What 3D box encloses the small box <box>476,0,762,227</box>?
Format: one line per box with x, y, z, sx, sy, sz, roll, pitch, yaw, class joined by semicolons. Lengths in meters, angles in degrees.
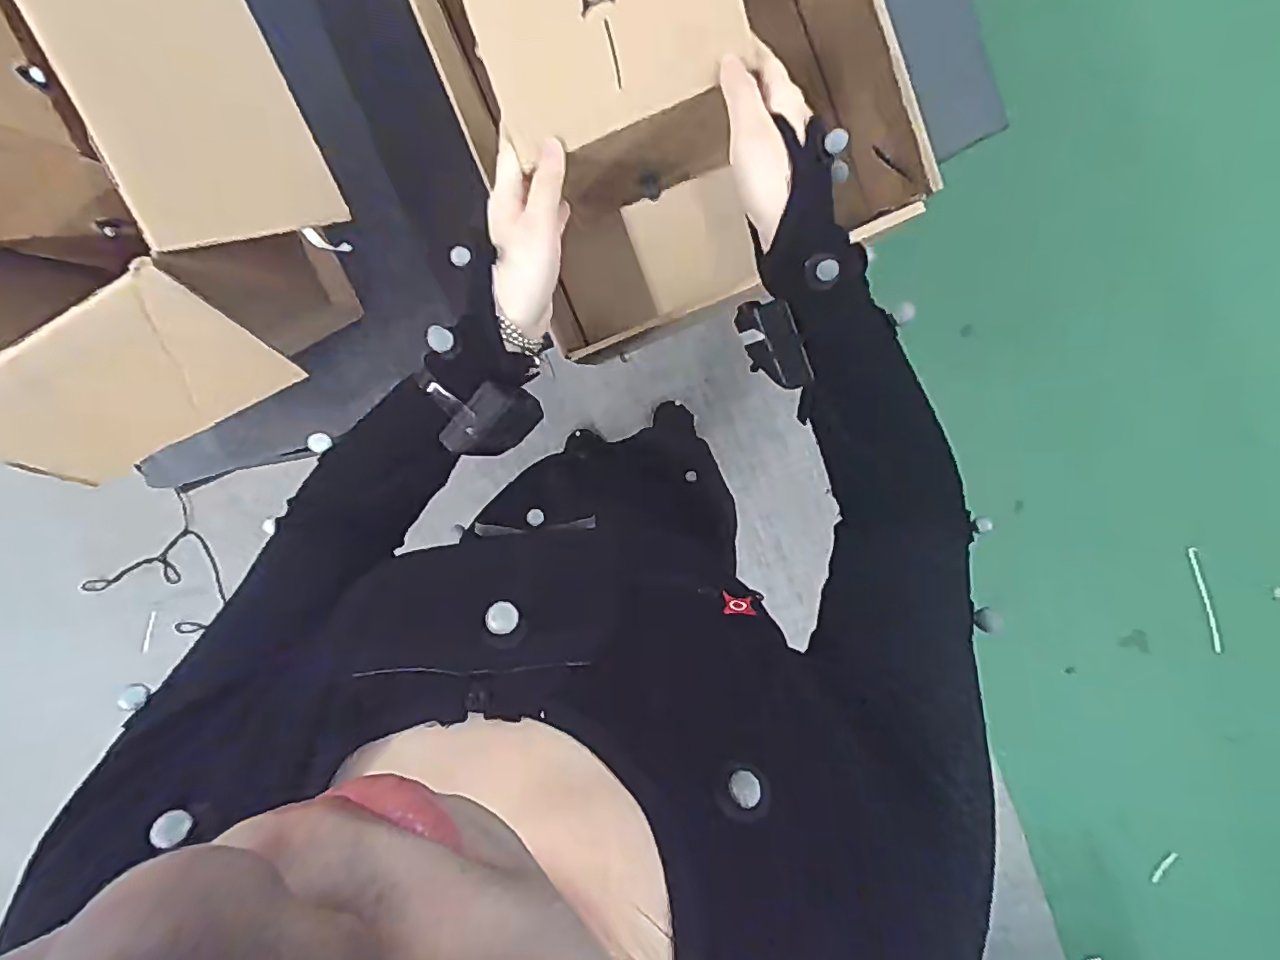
-0.013;-0.328;0.422;0.168;0.176;0.179;-16;101;12;small box
